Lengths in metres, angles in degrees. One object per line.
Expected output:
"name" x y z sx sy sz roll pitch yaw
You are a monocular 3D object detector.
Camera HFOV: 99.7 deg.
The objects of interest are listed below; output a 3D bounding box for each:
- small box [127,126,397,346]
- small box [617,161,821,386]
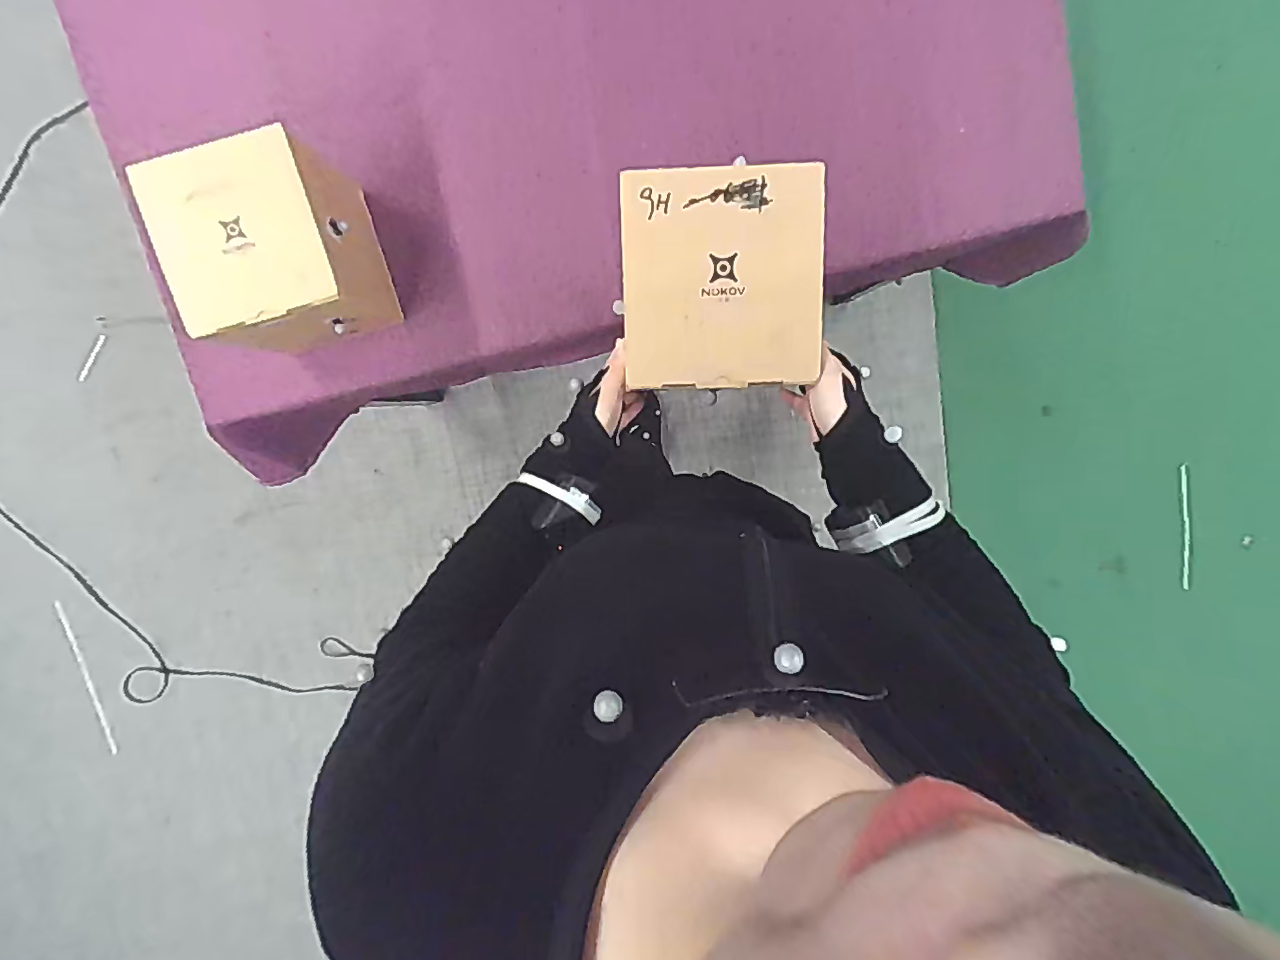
"small box" -0.411 -0.260 0.626 0.168 0.176 0.179 -15 98 0
"small box" 0.066 -0.183 0.527 0.168 0.176 0.179 -1 100 1
